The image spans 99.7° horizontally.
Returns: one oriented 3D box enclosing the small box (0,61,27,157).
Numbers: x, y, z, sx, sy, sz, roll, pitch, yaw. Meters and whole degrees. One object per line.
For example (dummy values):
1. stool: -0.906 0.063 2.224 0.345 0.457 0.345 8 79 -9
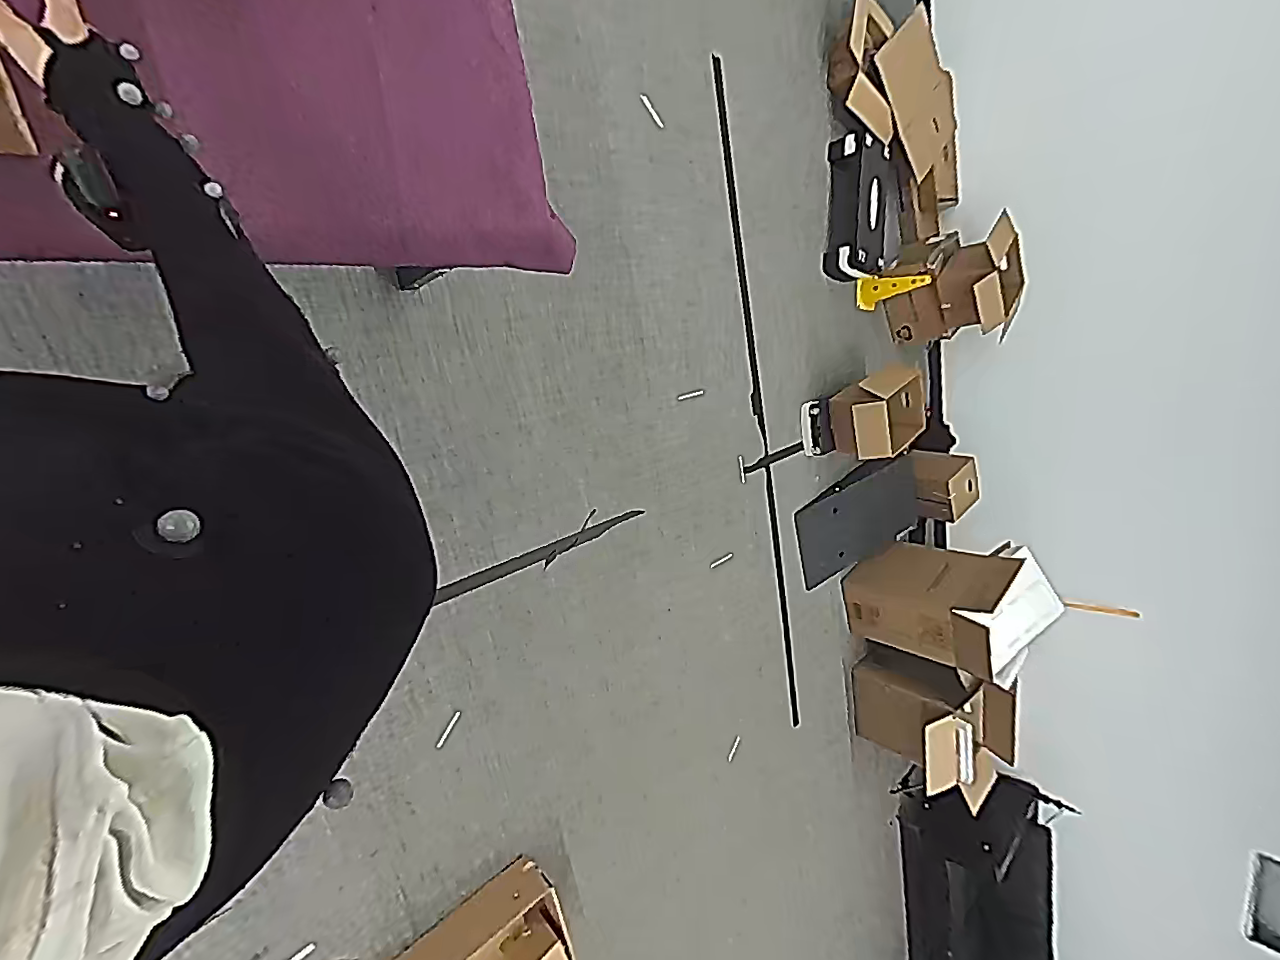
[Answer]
1. small box: -0.698 -0.404 0.474 0.179 0.176 0.168 -21 108 -36
